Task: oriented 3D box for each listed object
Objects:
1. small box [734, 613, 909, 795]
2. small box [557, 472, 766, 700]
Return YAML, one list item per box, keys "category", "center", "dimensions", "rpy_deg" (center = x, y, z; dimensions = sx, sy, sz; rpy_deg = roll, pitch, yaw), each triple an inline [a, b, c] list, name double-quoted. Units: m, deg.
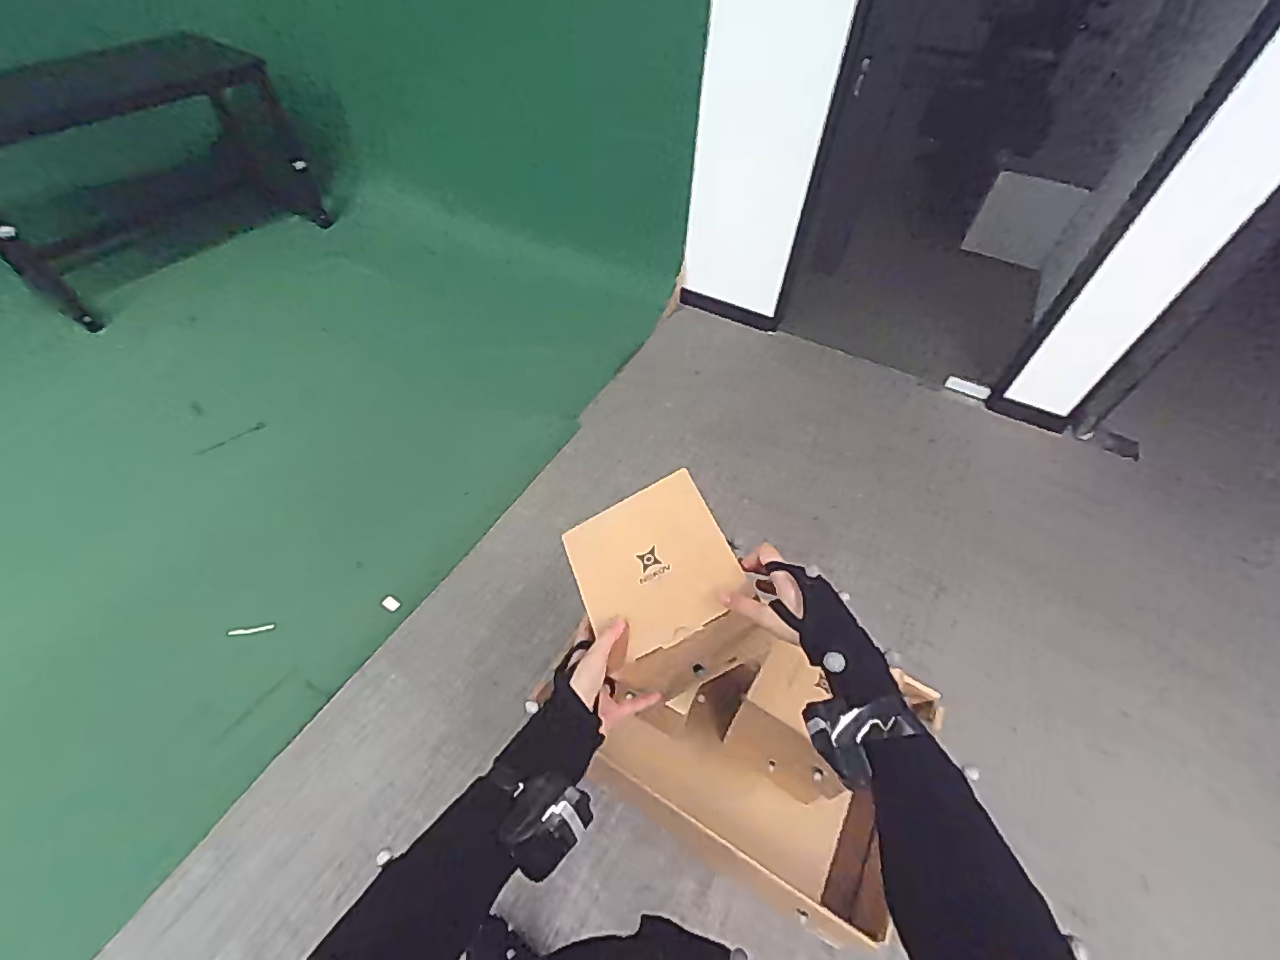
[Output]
- category: "small box"
  center: [0.261, 0.338, 0.808]
  dimensions: [0.179, 0.176, 0.168]
  rpy_deg: [29, 56, 22]
- category: "small box"
  center: [0.028, 0.129, 0.627]
  dimensions: [0.168, 0.176, 0.179]
  rpy_deg: [-28, 54, 4]
